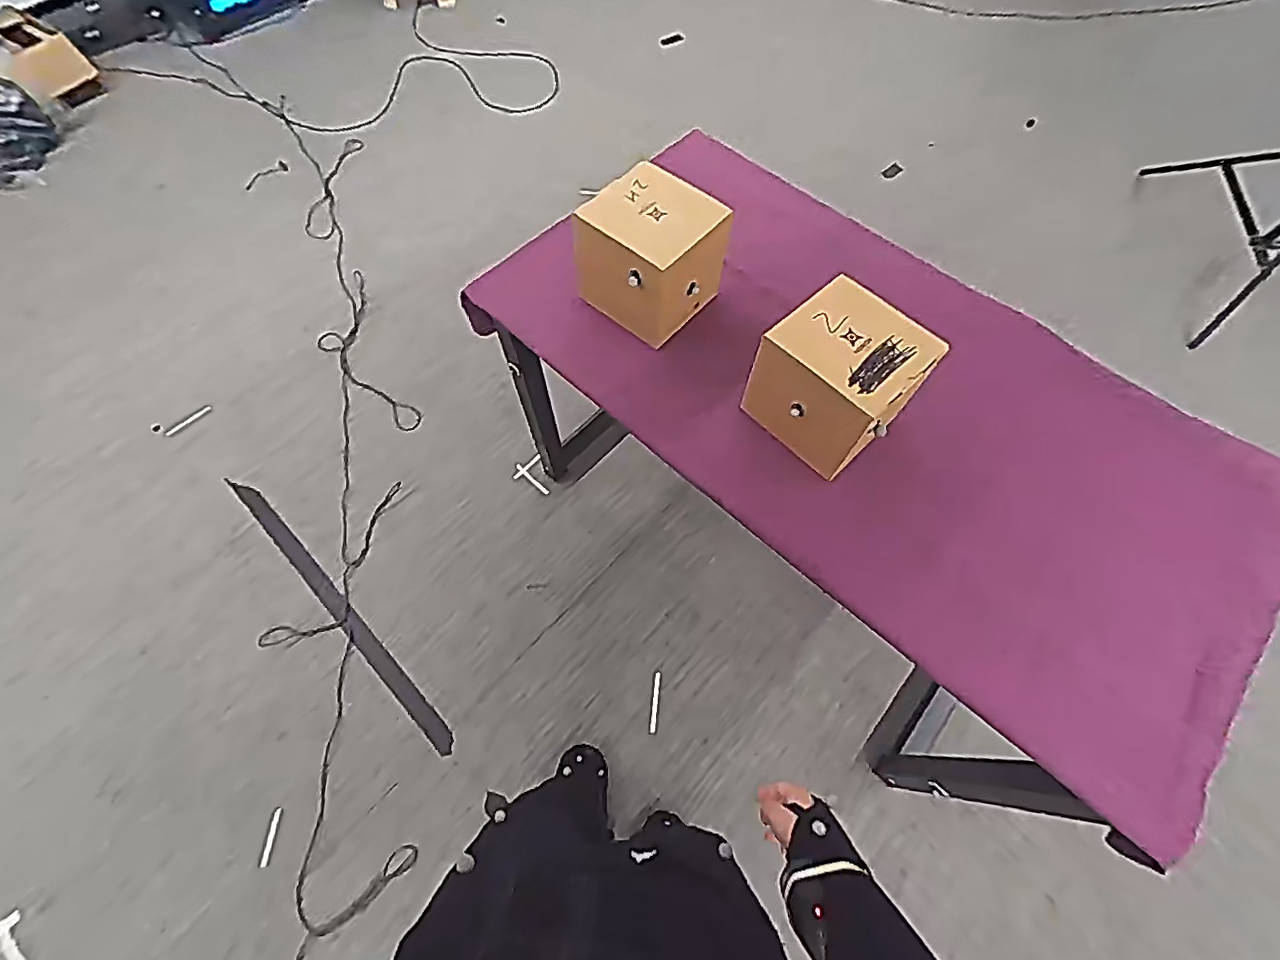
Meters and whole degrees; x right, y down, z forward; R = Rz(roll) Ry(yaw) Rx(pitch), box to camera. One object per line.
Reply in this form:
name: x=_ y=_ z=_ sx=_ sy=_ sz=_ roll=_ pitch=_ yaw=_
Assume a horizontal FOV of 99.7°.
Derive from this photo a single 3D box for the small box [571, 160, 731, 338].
small box: x=0.015 y=-0.353 z=0.855 sx=0.179 sy=0.176 sz=0.168 roll=38 pitch=68 yaw=16
